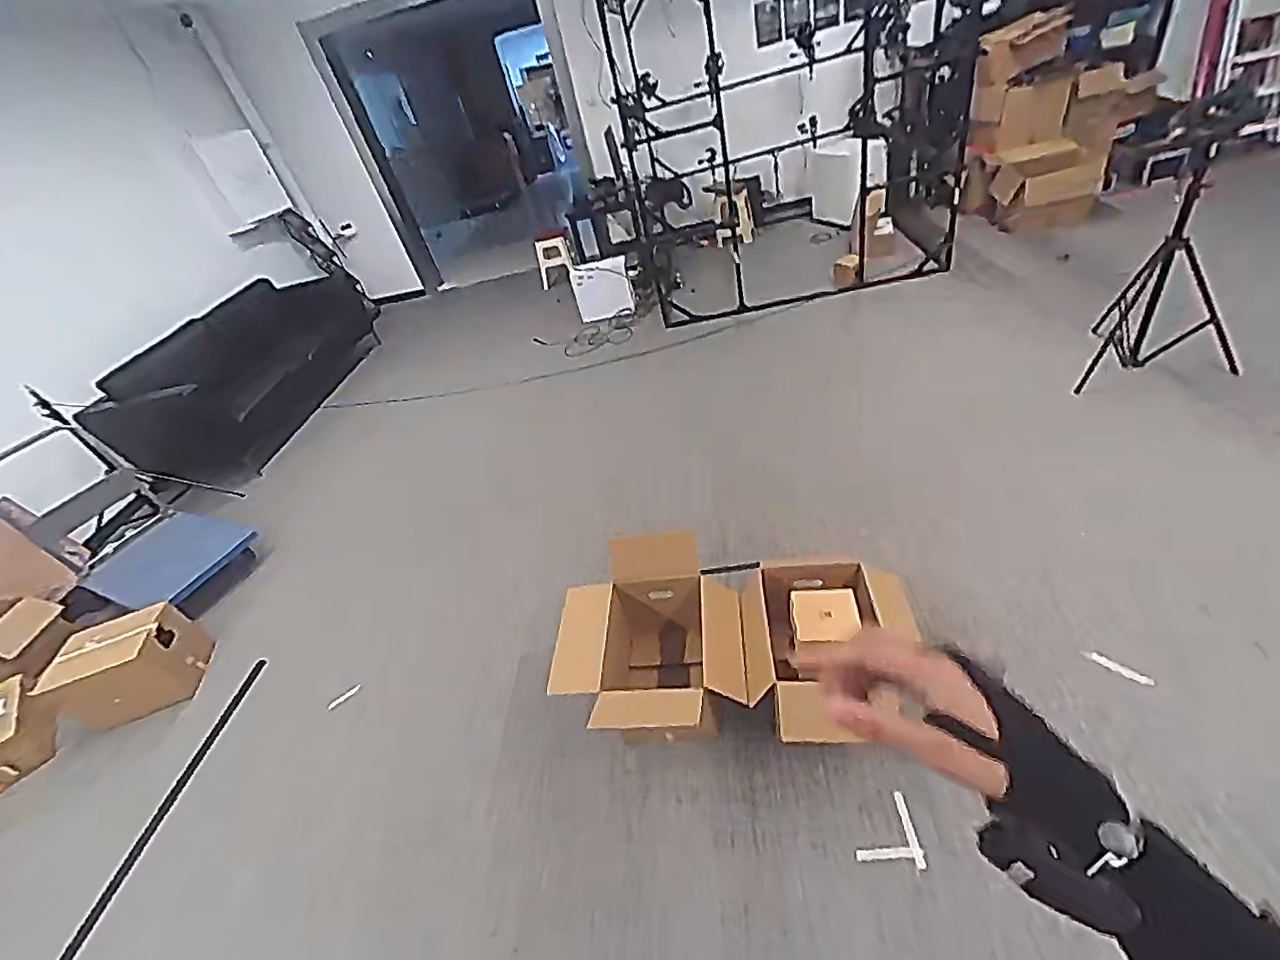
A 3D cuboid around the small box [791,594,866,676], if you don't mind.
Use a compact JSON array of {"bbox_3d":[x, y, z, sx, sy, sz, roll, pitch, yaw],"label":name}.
[{"bbox_3d":[0.533,0.446,1.551,0.179,0.176,0.168,-5,41,10],"label":"small box"}]
